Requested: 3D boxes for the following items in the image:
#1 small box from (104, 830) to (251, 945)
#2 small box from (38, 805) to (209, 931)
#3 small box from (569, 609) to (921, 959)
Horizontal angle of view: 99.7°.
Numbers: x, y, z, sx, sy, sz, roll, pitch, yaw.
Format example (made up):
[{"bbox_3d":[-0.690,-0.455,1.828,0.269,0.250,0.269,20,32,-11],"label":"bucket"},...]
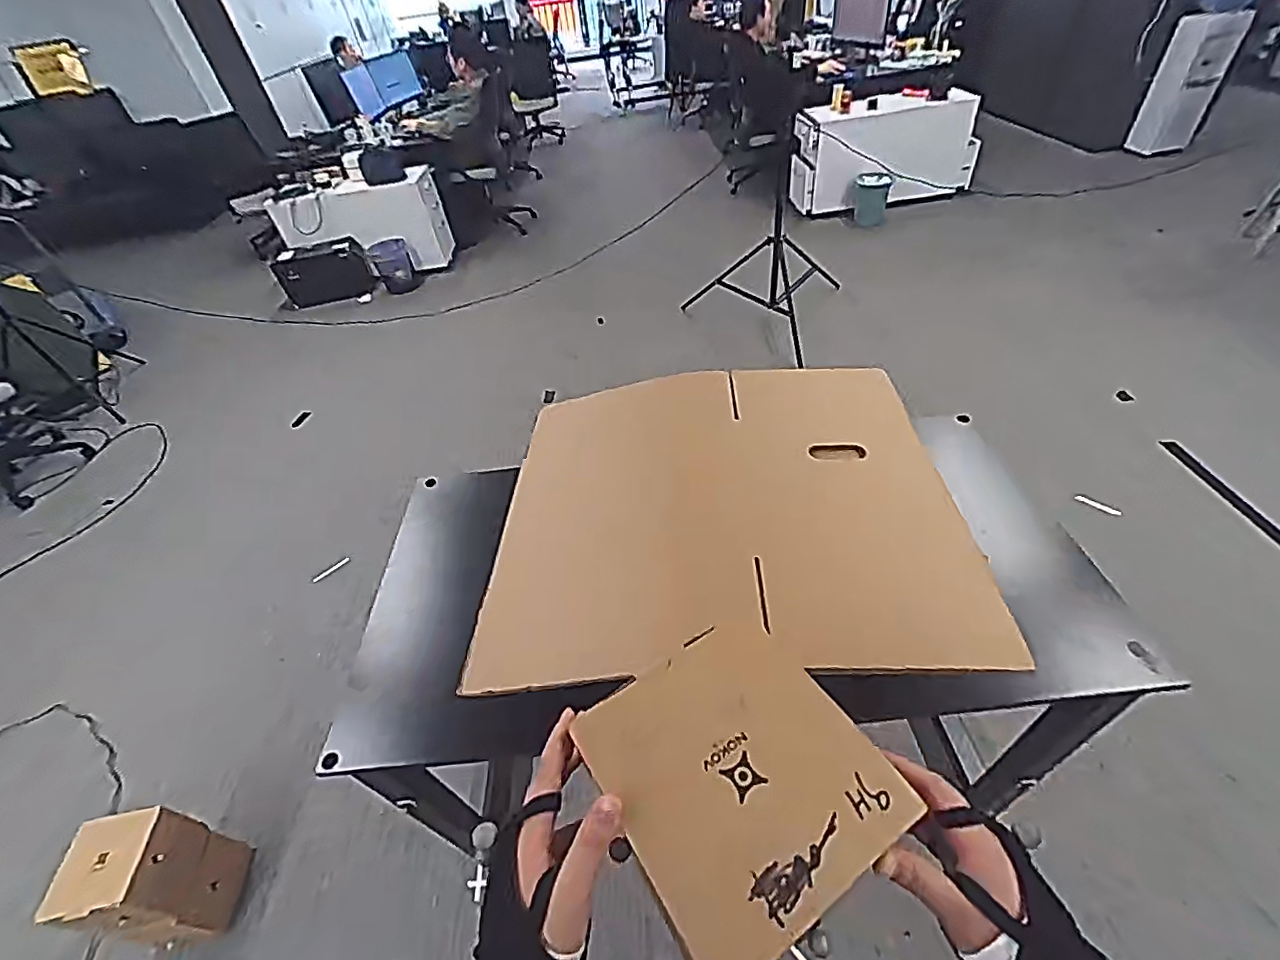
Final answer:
[{"bbox_3d":[-1.051,0.945,1.253,0.168,0.176,0.179,-10,45,0],"label":"small box"},{"bbox_3d":[-1.071,0.825,1.144,0.168,0.176,0.179,-11,43,-3],"label":"small box"},{"bbox_3d":[0.065,0.242,0.414,0.168,0.176,0.179,-27,49,-21],"label":"small box"}]
